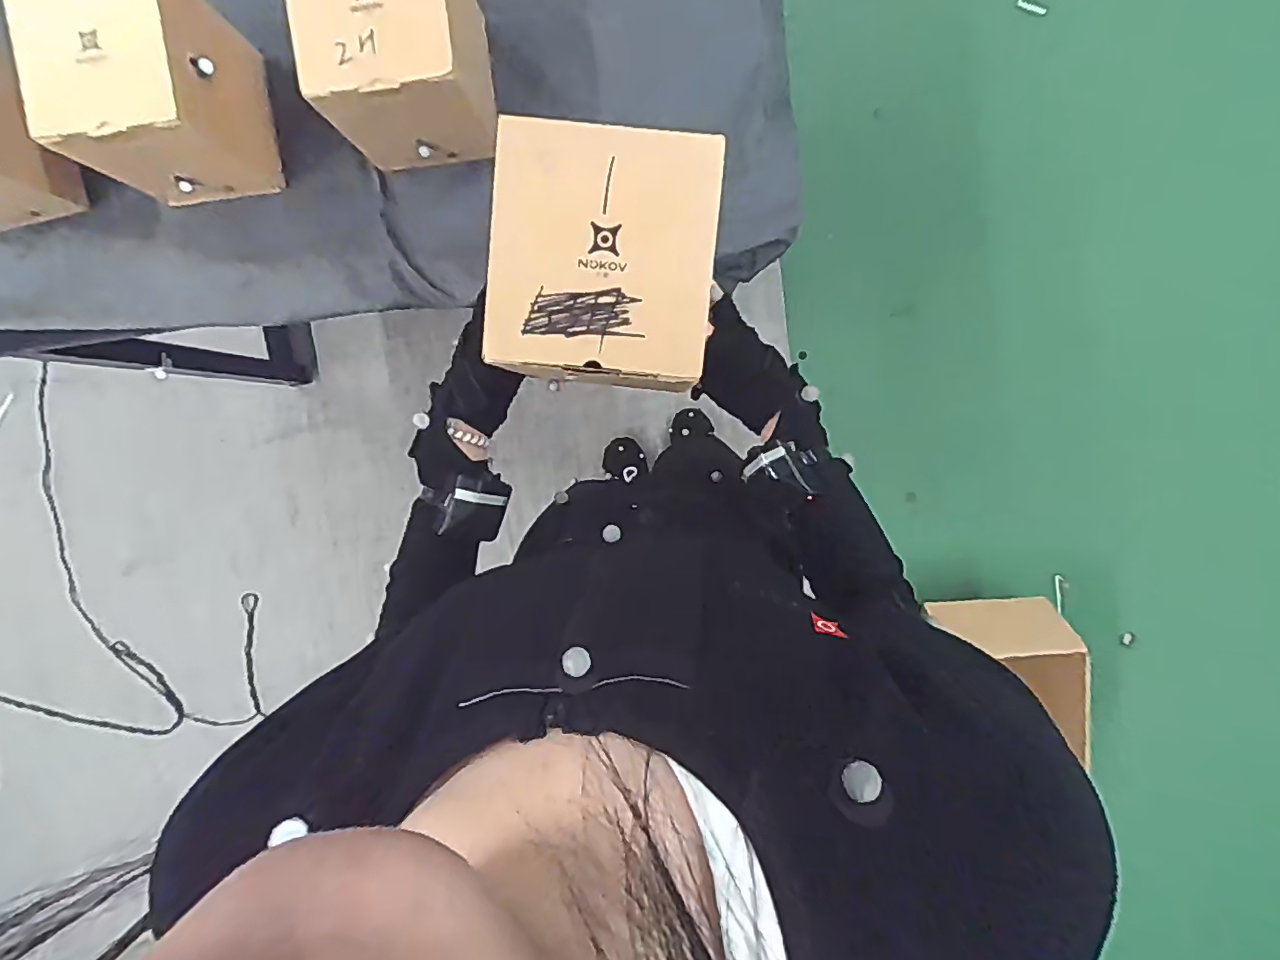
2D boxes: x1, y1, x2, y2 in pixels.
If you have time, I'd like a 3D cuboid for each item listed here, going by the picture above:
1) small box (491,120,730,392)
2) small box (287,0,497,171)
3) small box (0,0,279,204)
[{"bbox_3d":[-0.023,-0.174,0.477,0.168,0.176,0.179,5,96,-1],"label":"small box"},{"bbox_3d":[-0.277,-0.496,0.631,0.168,0.176,0.179,-6,95,2],"label":"small box"},{"bbox_3d":[-0.573,-0.459,0.643,0.168,0.176,0.179,-7,96,1],"label":"small box"}]
